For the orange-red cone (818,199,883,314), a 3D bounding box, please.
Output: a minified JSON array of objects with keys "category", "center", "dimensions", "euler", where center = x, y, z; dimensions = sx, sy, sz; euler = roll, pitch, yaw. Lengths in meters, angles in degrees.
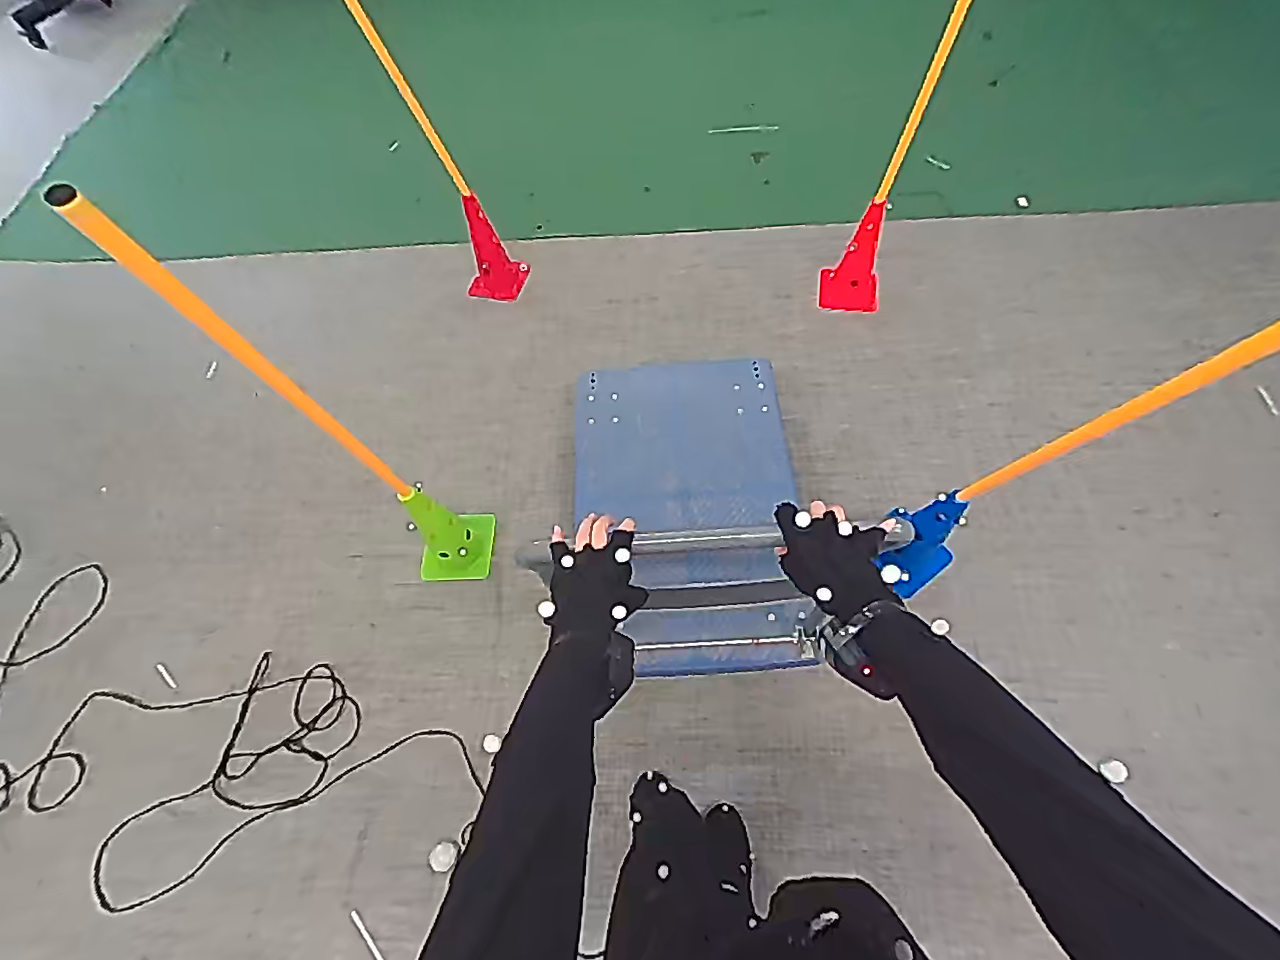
[{"category":"orange-red cone","center":[0.725,-0.748,1.770],"dimensions":[0.198,0.360,0.199],"euler":[9,64,10]}]
